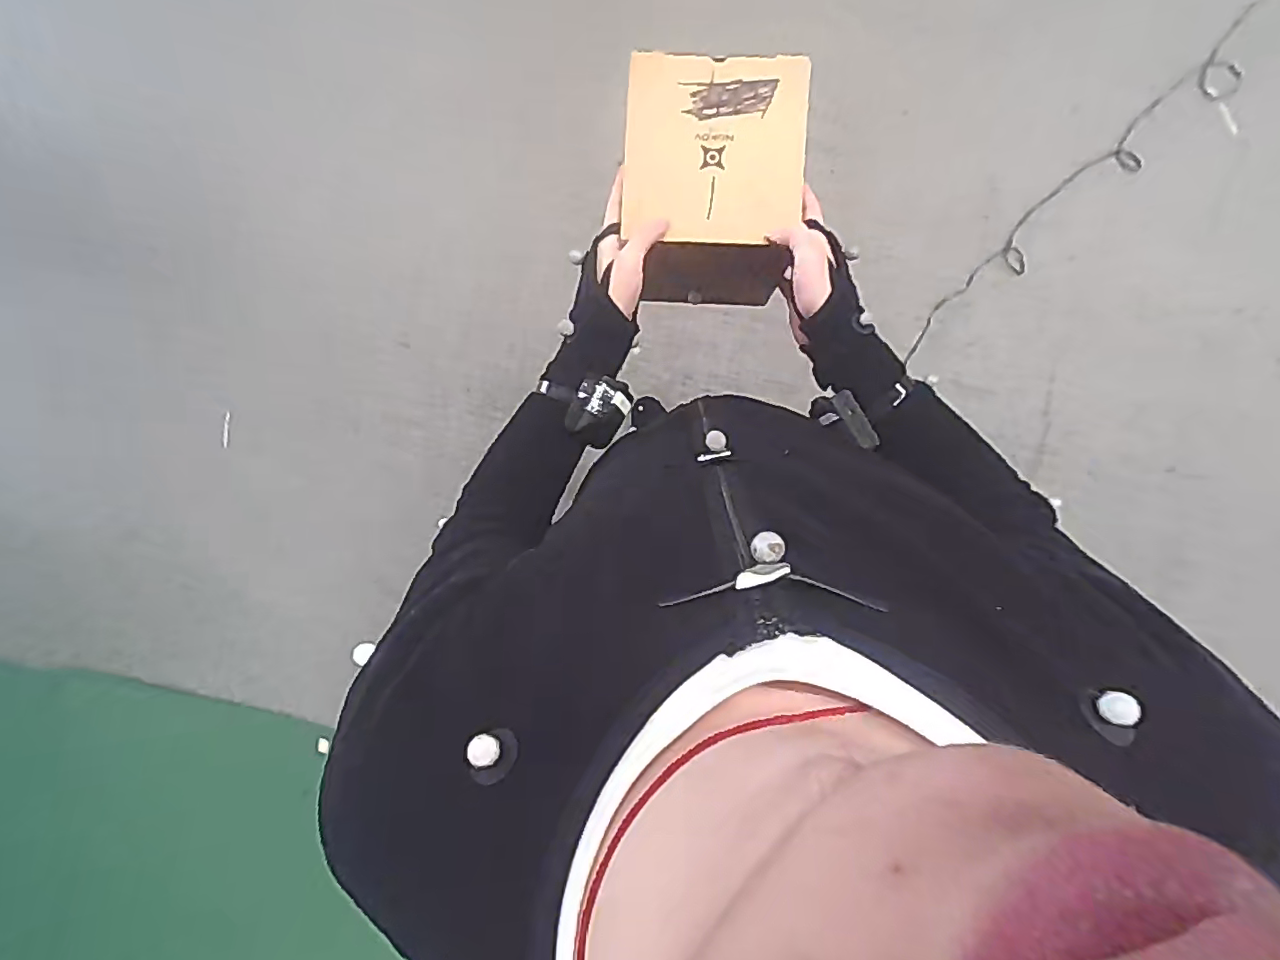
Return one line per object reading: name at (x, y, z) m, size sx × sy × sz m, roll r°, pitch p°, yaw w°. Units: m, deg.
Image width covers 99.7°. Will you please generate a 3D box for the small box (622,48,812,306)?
small box at (0.072, -0.303, 0.571) m, size 0.168 × 0.176 × 0.179 m, roll 4°, pitch 90°, yaw 2°
